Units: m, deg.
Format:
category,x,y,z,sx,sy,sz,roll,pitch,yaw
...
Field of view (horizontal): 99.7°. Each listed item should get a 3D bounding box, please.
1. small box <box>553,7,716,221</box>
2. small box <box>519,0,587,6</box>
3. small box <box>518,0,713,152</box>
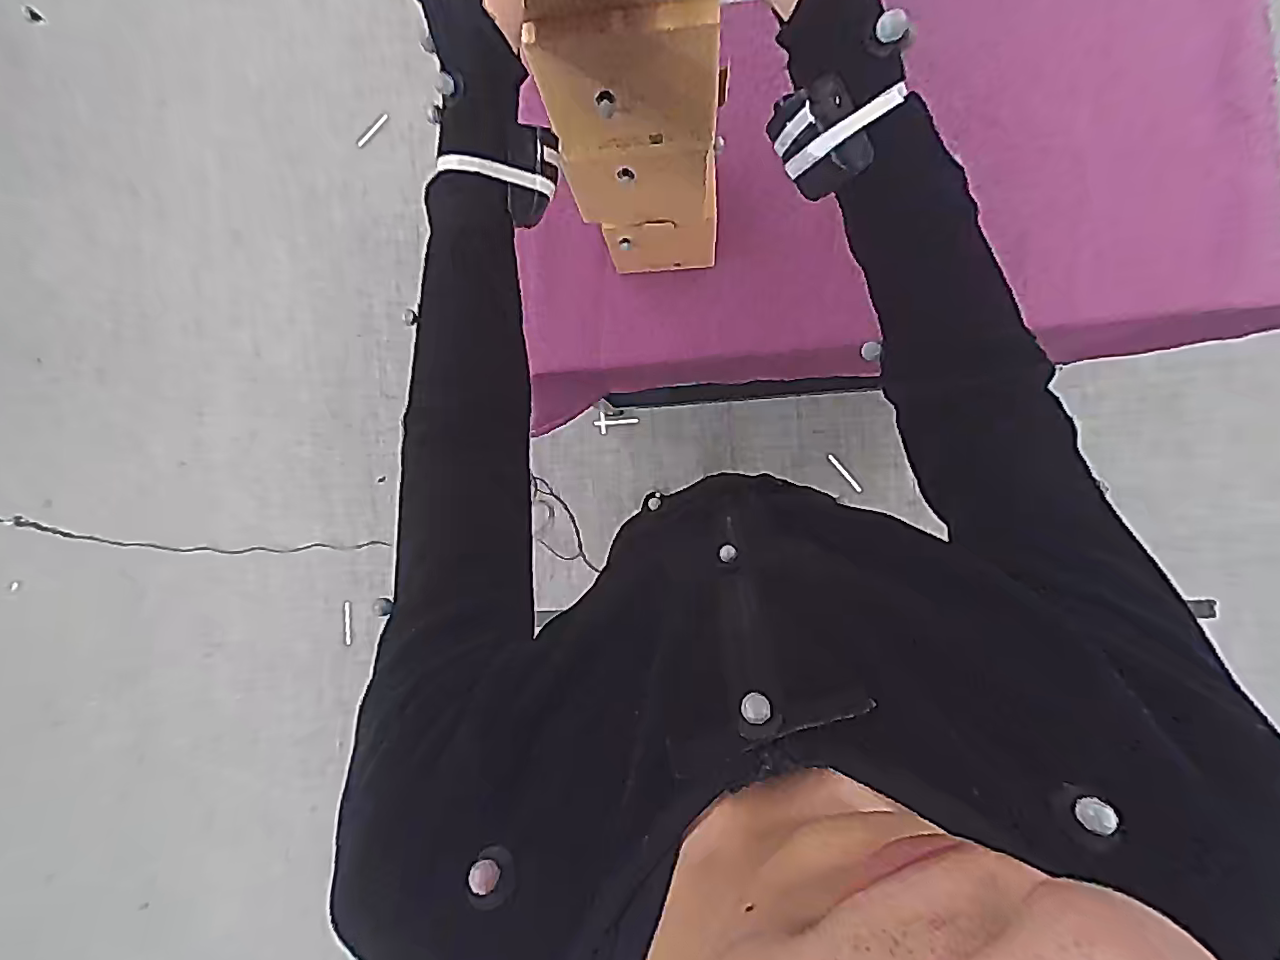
category,x,y,z,sx,sy,sz,roll,pitch,yaw
small box,0.000,-0.449,0.686,0.179,0.176,0.168,4,90,5
small box,-0.028,-0.469,0.361,0.179,0.176,0.168,-3,88,4
small box,-0.014,-0.448,0.524,0.168,0.176,0.179,-2,88,5
